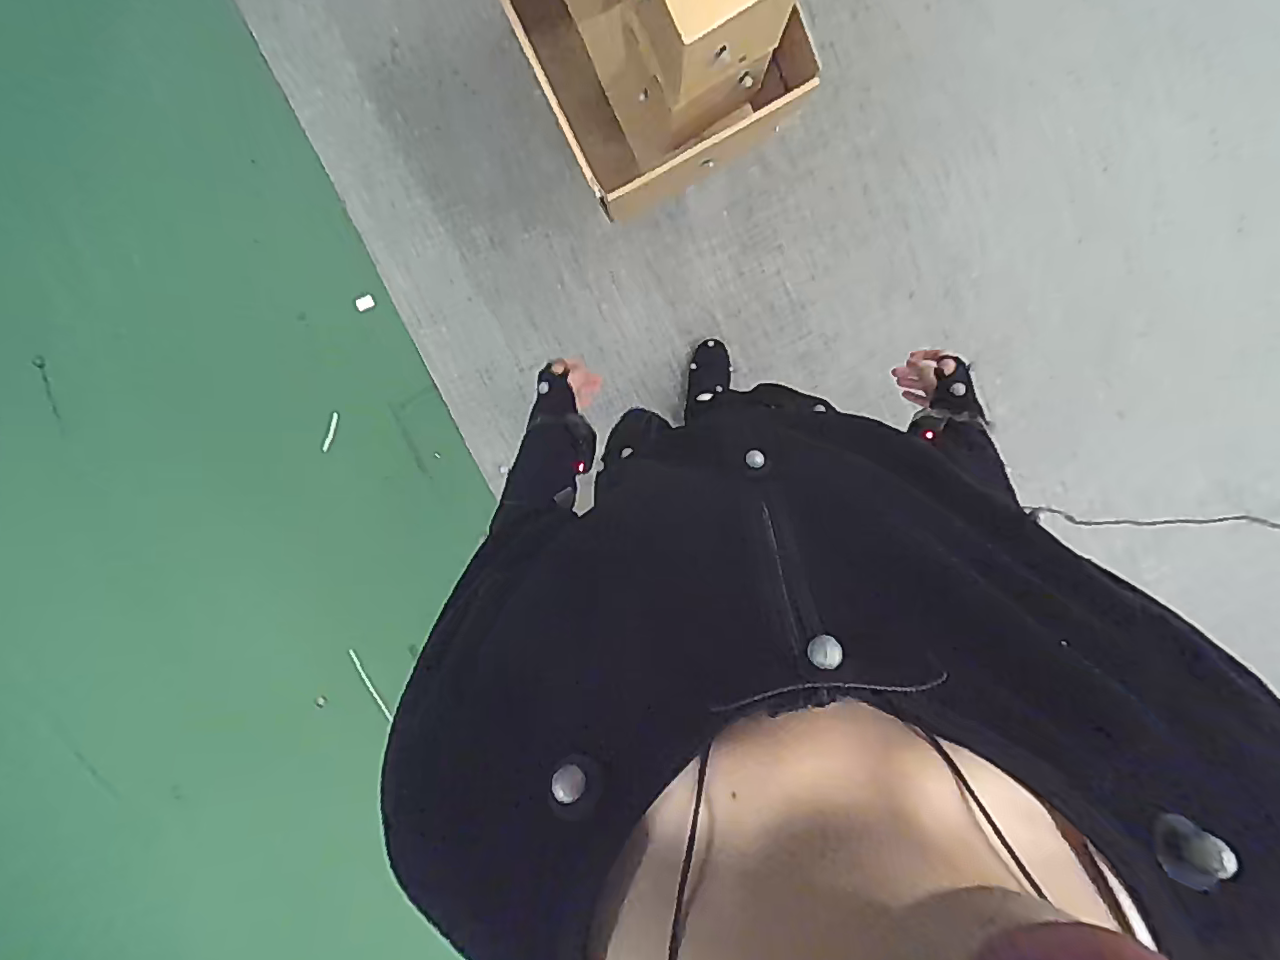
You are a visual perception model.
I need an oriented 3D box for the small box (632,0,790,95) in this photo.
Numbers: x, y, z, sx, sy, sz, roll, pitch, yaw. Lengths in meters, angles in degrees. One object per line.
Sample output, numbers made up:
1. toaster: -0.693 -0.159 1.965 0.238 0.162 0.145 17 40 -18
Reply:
1. small box: 0.090 -0.652 0.710 0.168 0.176 0.179 -27 100 7
